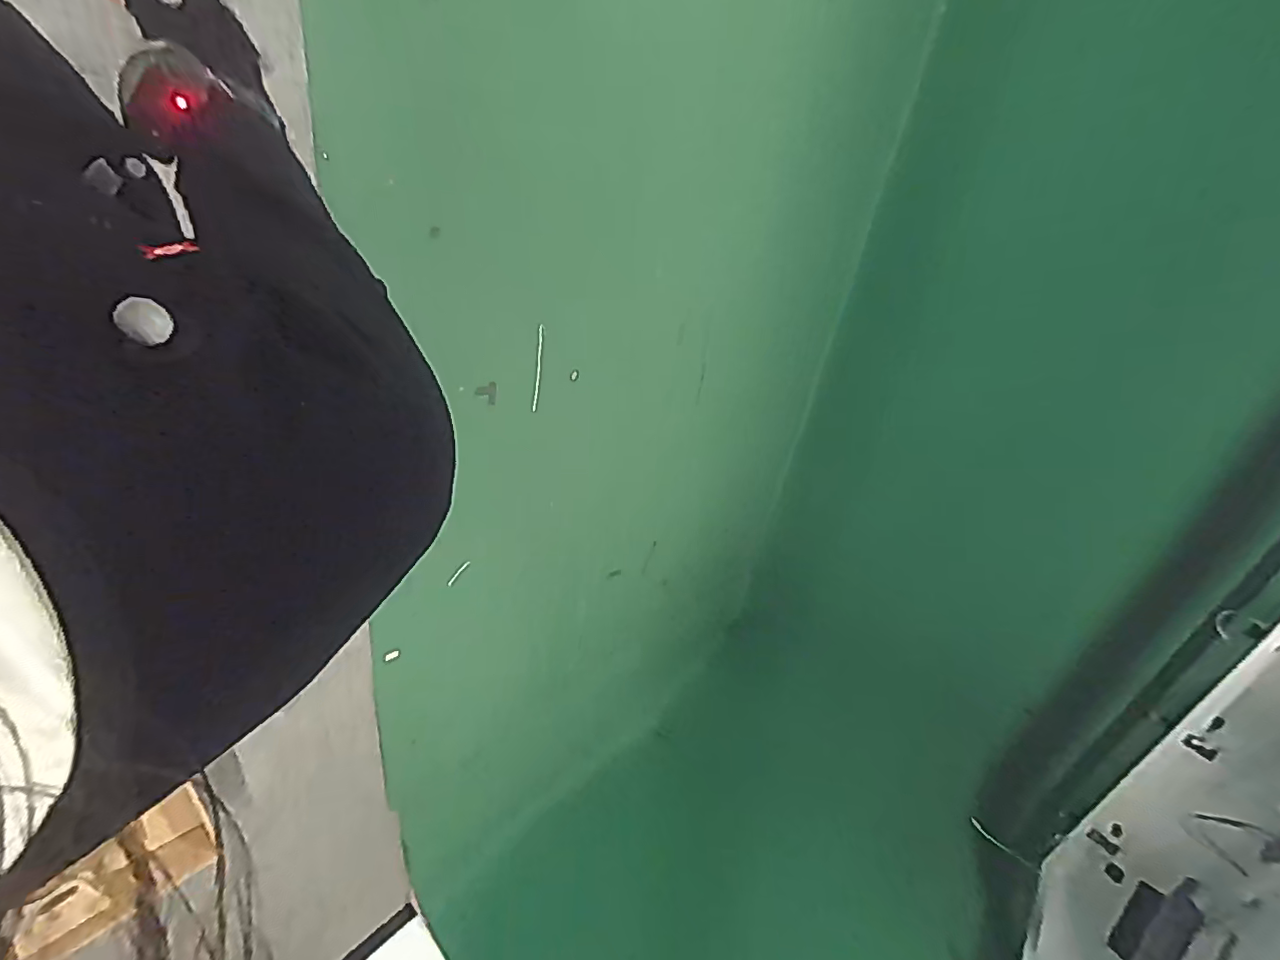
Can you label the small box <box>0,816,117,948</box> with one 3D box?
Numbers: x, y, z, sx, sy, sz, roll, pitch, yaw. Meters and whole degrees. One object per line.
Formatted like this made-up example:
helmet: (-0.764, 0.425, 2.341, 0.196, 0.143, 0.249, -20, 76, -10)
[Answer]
small box: (-1.436, 0.970, 1.322, 0.168, 0.176, 0.179, -24, 135, -43)
